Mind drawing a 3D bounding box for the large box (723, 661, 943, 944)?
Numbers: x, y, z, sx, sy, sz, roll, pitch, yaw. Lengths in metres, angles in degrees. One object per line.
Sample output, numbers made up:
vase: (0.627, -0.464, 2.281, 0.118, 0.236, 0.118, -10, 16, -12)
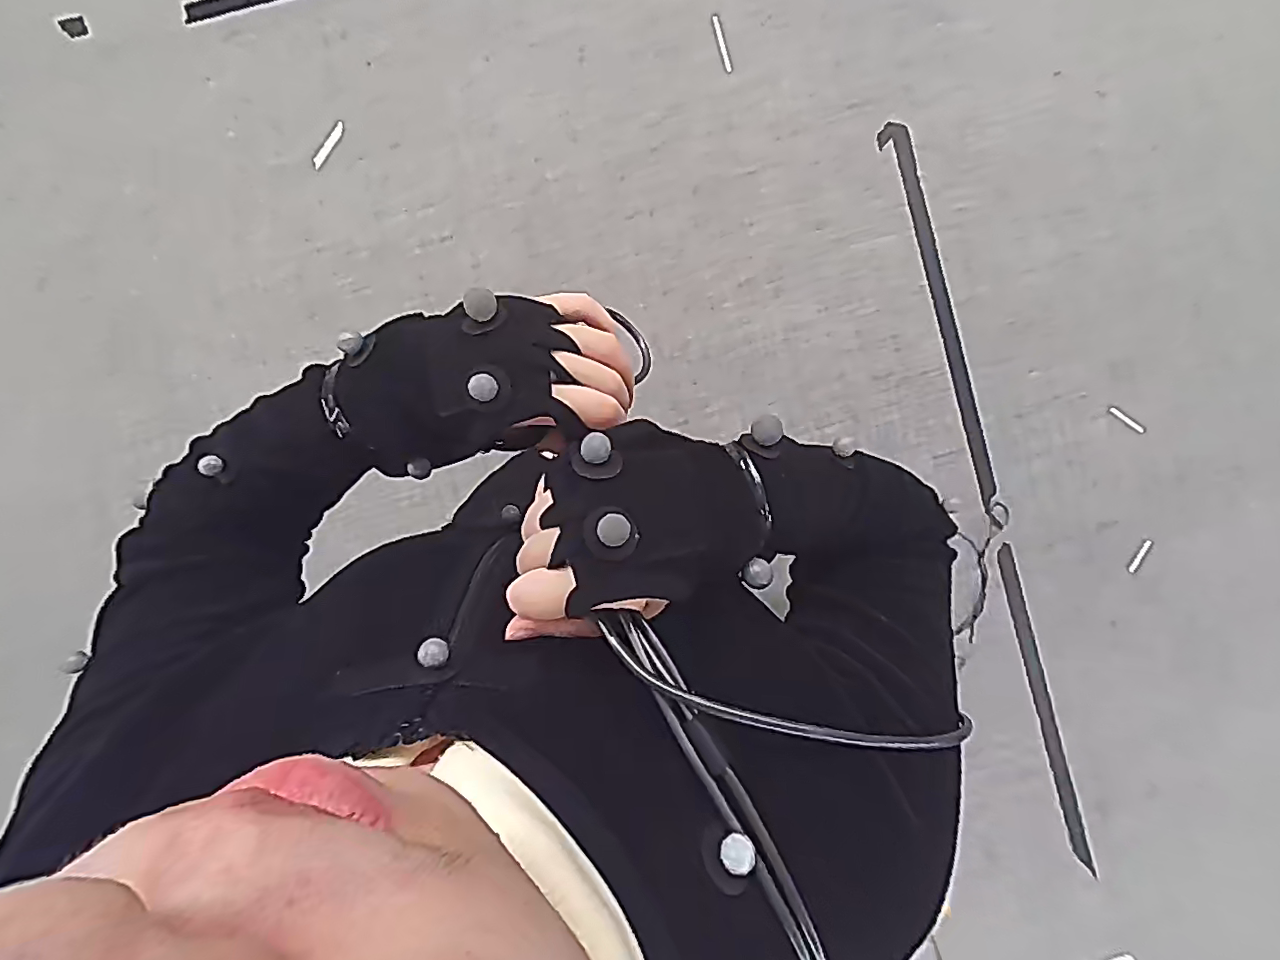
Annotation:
large box: (0.404, 0.683, 1.209, 0.320, 0.320, 0.408, -13, 93, -2)
